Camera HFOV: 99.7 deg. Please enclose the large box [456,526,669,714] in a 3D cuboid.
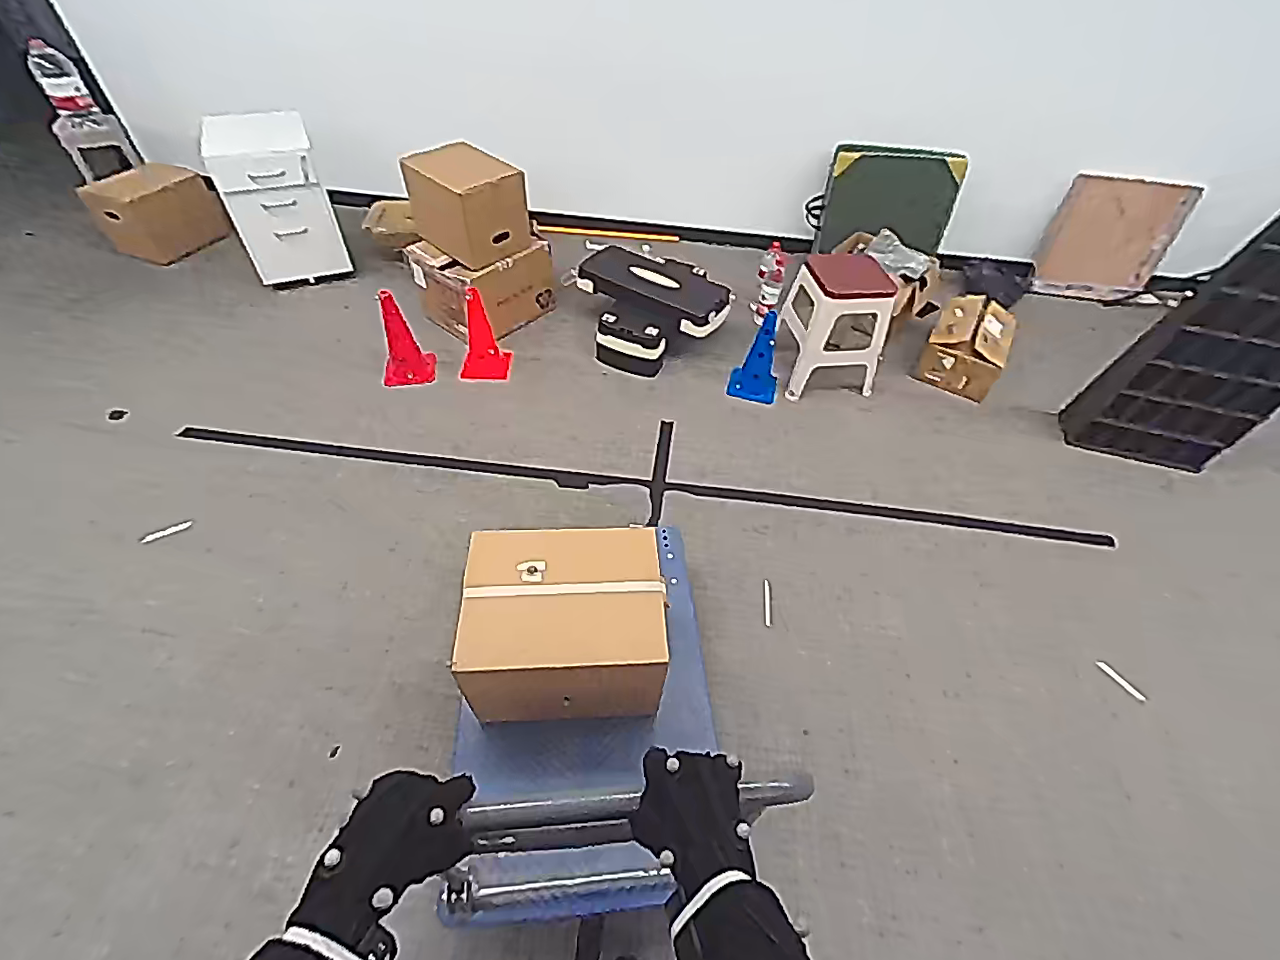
[{"bbox_3d":[-0.158,0.320,1.220,0.408,0.320,0.320,-1,50,-4],"label":"large box"}]
